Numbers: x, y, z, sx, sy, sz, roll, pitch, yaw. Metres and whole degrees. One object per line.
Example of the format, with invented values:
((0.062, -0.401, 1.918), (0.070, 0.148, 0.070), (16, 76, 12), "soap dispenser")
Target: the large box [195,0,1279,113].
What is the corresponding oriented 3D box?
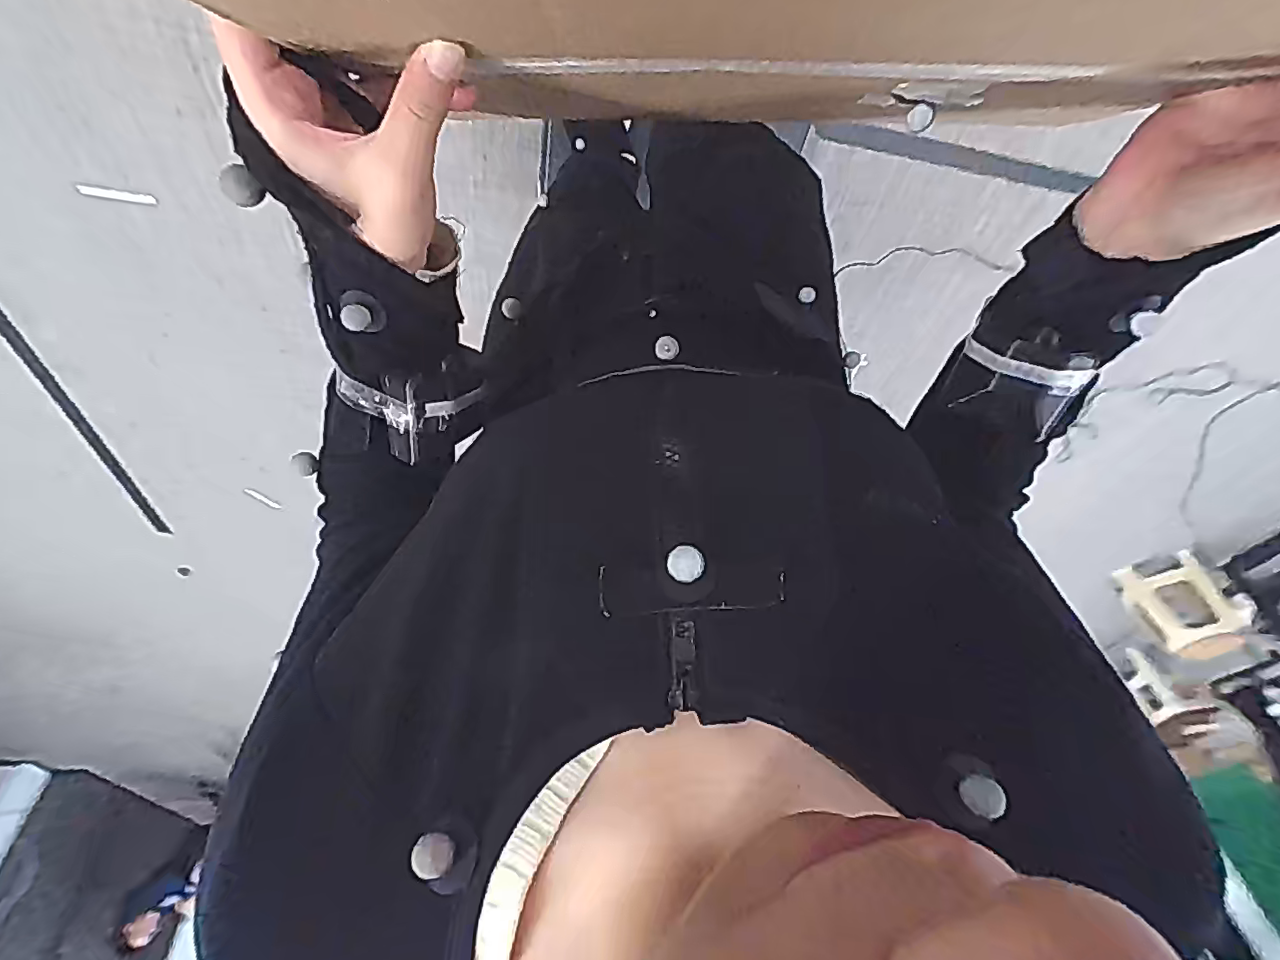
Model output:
((0.058, -0.309, 0.145), (0.408, 0.320, 0.320), (0, 117, 1), "large box")
